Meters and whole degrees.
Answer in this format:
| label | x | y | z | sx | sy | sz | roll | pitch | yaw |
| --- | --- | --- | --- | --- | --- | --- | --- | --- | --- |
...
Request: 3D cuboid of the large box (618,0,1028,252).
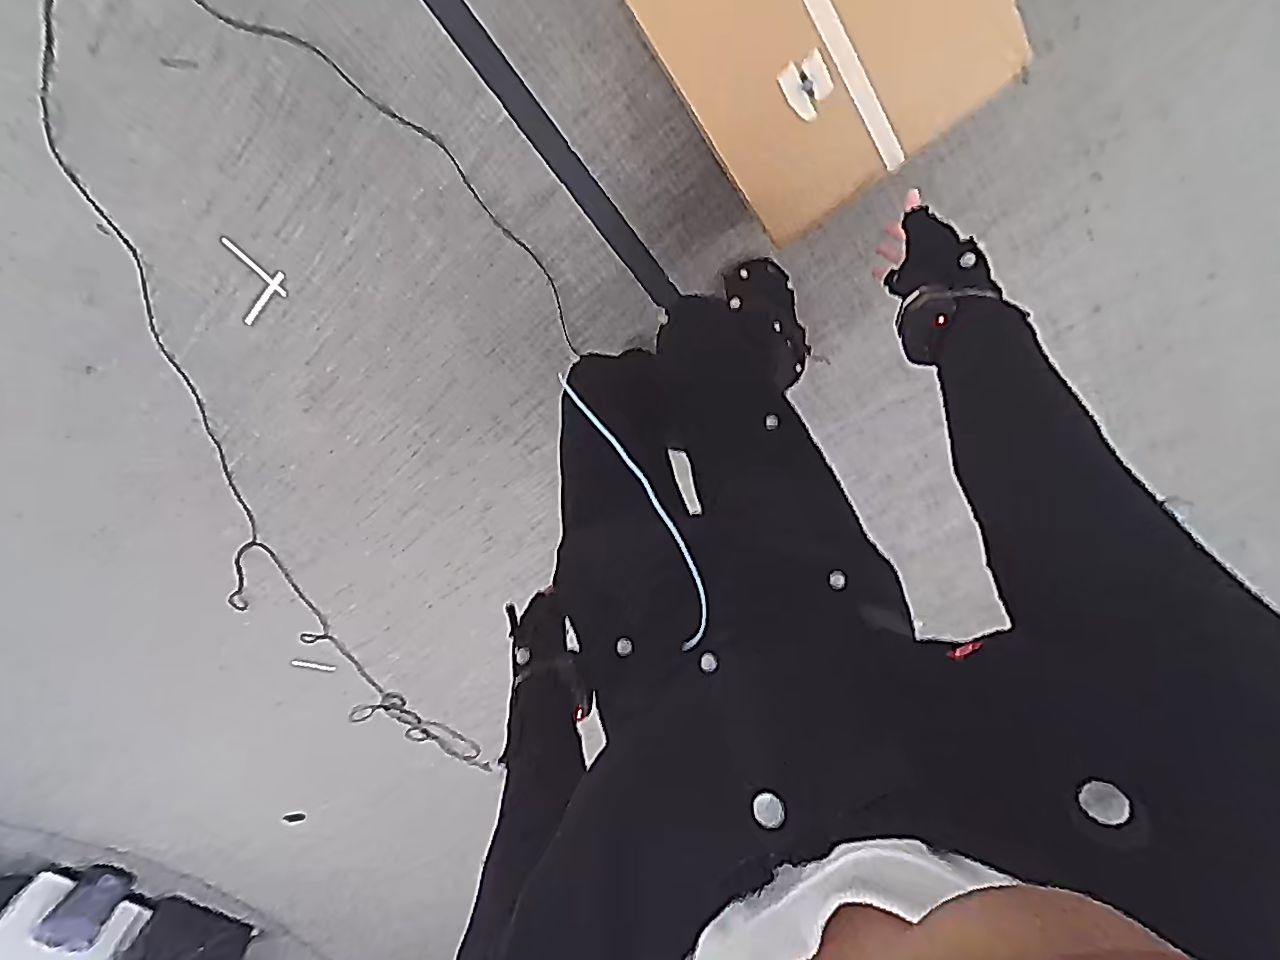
| label | x | y | z | sx | sy | sz | roll | pitch | yaw |
| --- | --- | --- | --- | --- | --- | --- | --- | --- | --- |
| large box | 0.196 | -0.585 | 0.701 | 0.320 | 0.320 | 0.408 | -32 | 115 | 24 |
